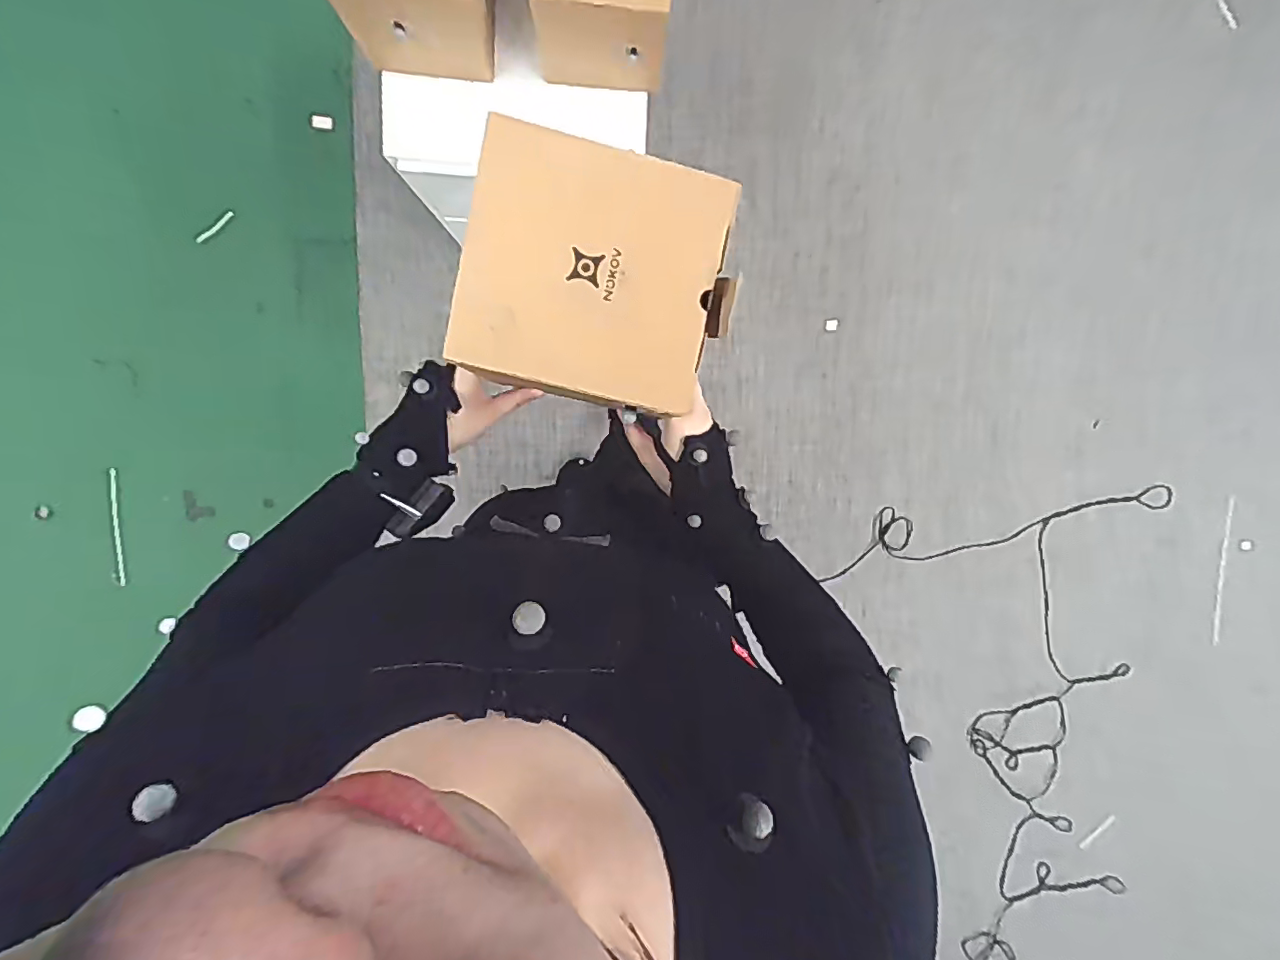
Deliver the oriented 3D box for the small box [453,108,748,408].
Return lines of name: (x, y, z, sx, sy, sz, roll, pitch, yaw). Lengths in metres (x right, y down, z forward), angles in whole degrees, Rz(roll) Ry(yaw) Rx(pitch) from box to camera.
small box: (-0.034, -0.156, 0.447, 0.179, 0.176, 0.168, 11, 95, -8)

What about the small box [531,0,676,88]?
small box: (-0.045, -0.662, 0.724, 0.179, 0.176, 0.168, 2, 96, -2)

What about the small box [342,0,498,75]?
small box: (-0.290, -0.668, 0.704, 0.179, 0.176, 0.168, 3, 98, -5)
